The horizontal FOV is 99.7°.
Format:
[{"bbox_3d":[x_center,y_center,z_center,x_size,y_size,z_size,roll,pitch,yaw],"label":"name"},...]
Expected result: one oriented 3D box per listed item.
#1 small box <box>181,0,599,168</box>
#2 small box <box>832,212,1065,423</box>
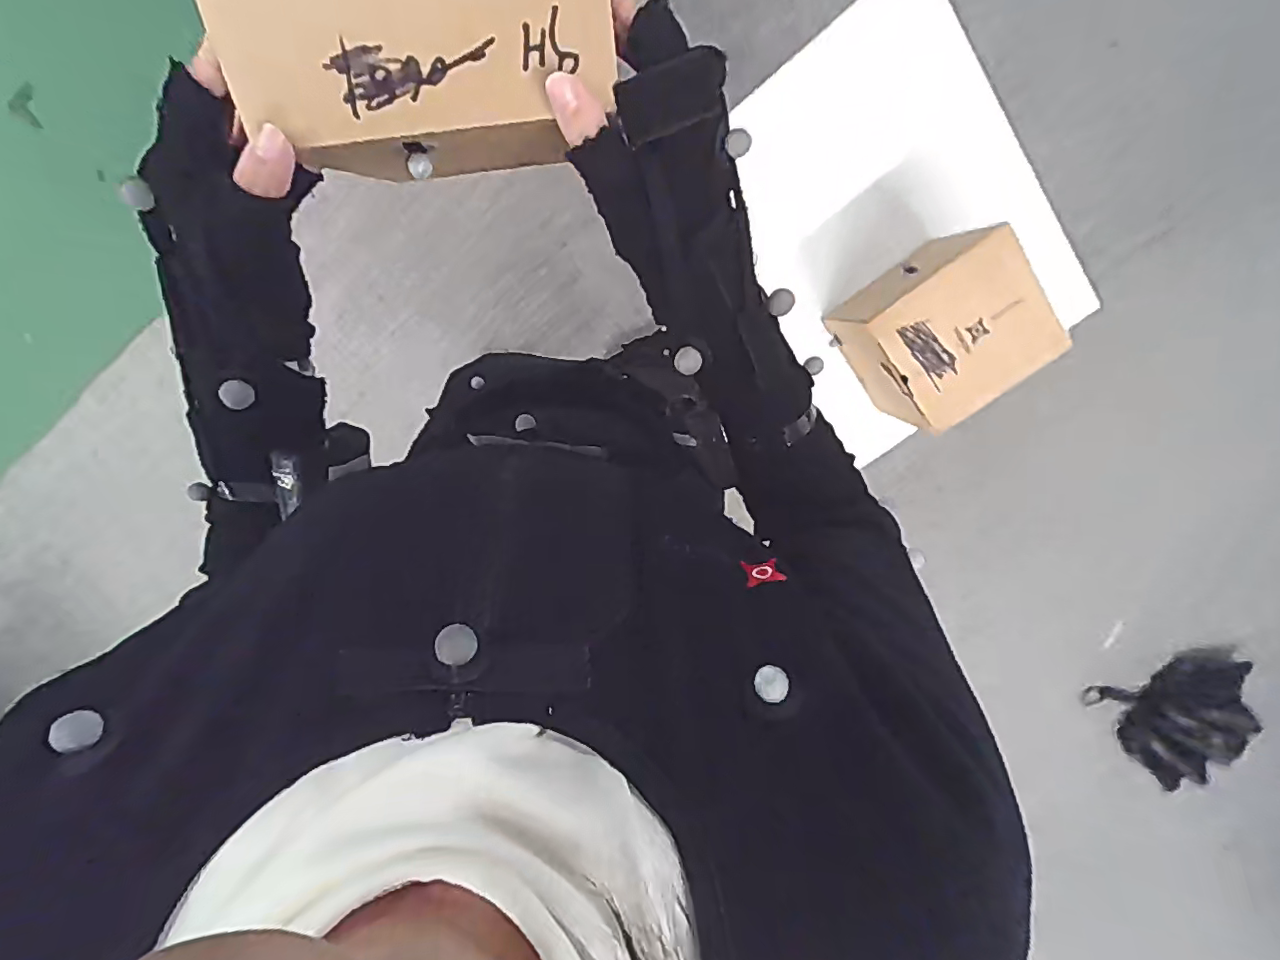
[{"bbox_3d":[-0.115,-0.277,0.275,0.168,0.176,0.179,-8,114,-1],"label":"small box"},{"bbox_3d":[0.366,-0.199,0.683,0.179,0.176,0.168,-35,104,11],"label":"small box"}]
